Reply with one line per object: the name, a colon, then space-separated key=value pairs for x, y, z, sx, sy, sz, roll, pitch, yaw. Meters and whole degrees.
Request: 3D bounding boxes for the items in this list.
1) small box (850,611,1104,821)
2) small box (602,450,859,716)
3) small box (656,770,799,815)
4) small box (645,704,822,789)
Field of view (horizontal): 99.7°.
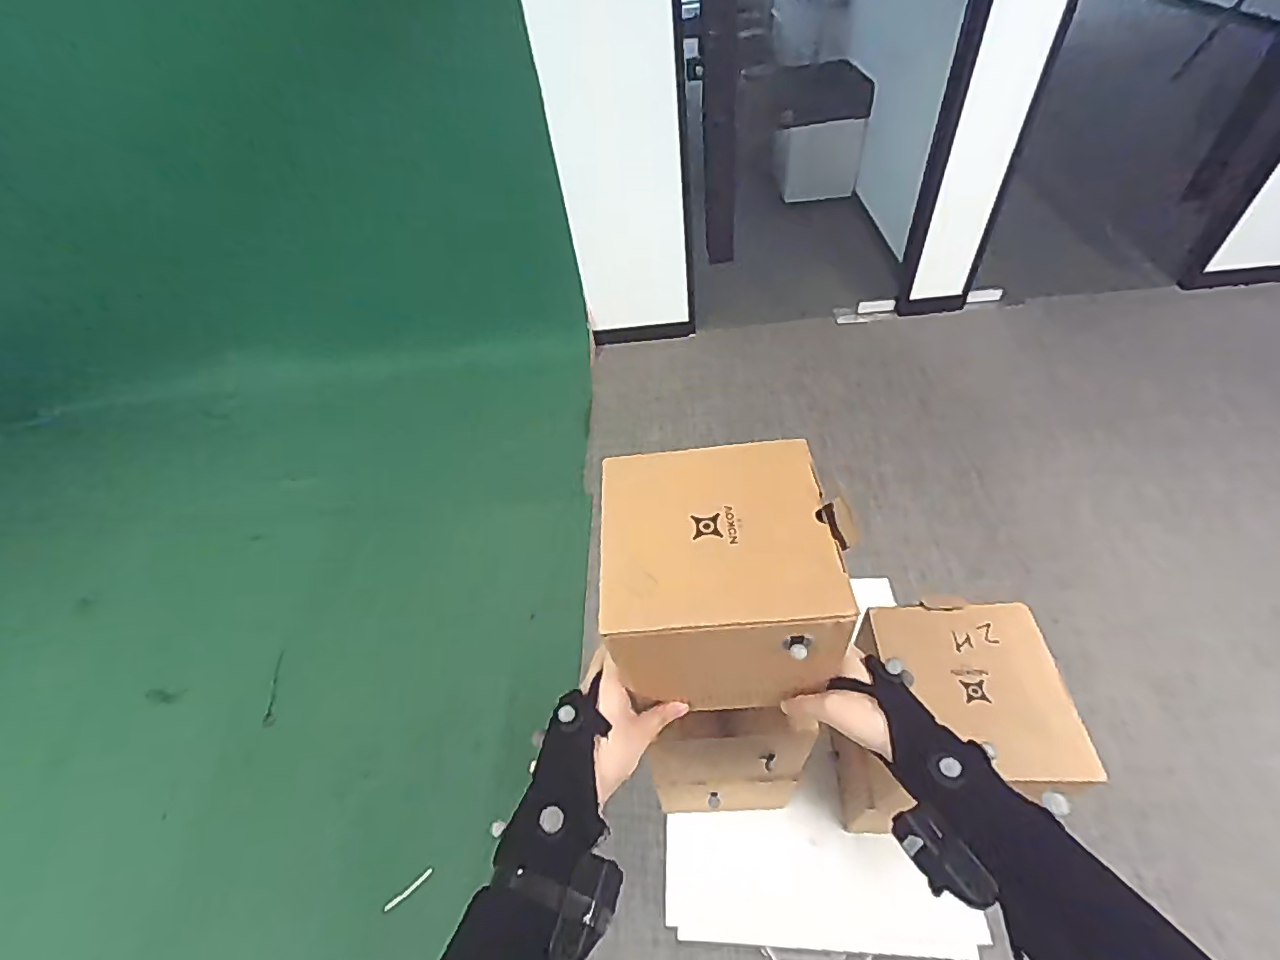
small box: x=0.341 y=0.261 z=0.594 sx=0.168 sy=0.176 sz=0.179 roll=-3 pitch=49 yaw=7
small box: x=0.069 y=0.096 z=0.474 sx=0.179 sy=0.176 sz=0.168 roll=-5 pitch=48 yaw=4
small box: x=0.113 y=0.363 z=0.763 sx=0.179 sy=0.176 sz=0.168 roll=-4 pitch=49 yaw=3
small box: x=0.096 y=0.253 z=0.642 sx=0.179 sy=0.176 sz=0.168 roll=-6 pitch=47 yaw=2
